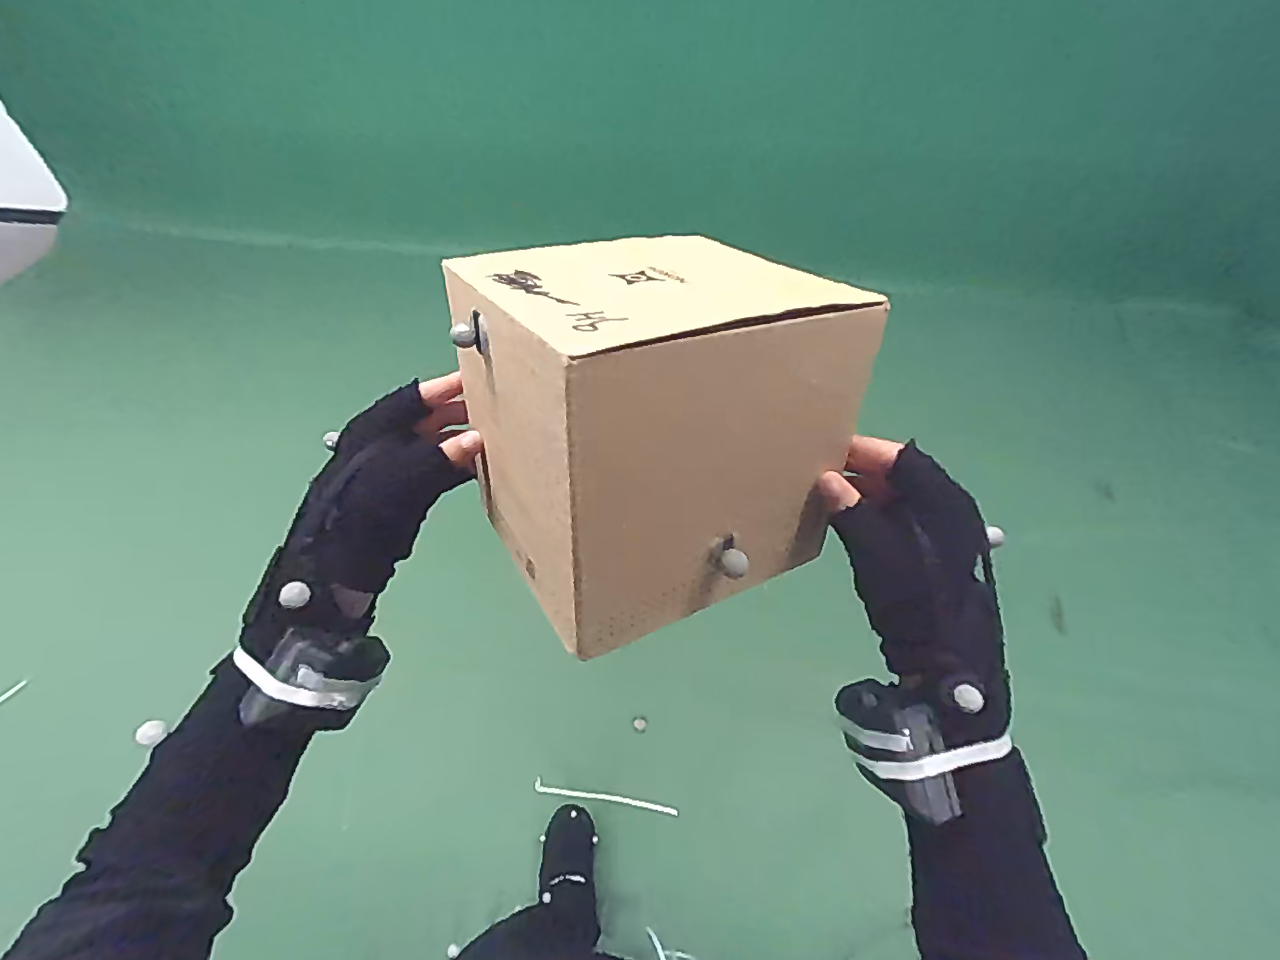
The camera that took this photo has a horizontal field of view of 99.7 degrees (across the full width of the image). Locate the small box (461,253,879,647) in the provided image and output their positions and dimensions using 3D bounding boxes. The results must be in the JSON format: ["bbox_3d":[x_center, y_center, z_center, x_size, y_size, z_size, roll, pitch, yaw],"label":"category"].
[{"bbox_3d":[0.005,-0.033,0.337,0.179,0.176,0.168,-17,38,-28],"label":"small box"}]
